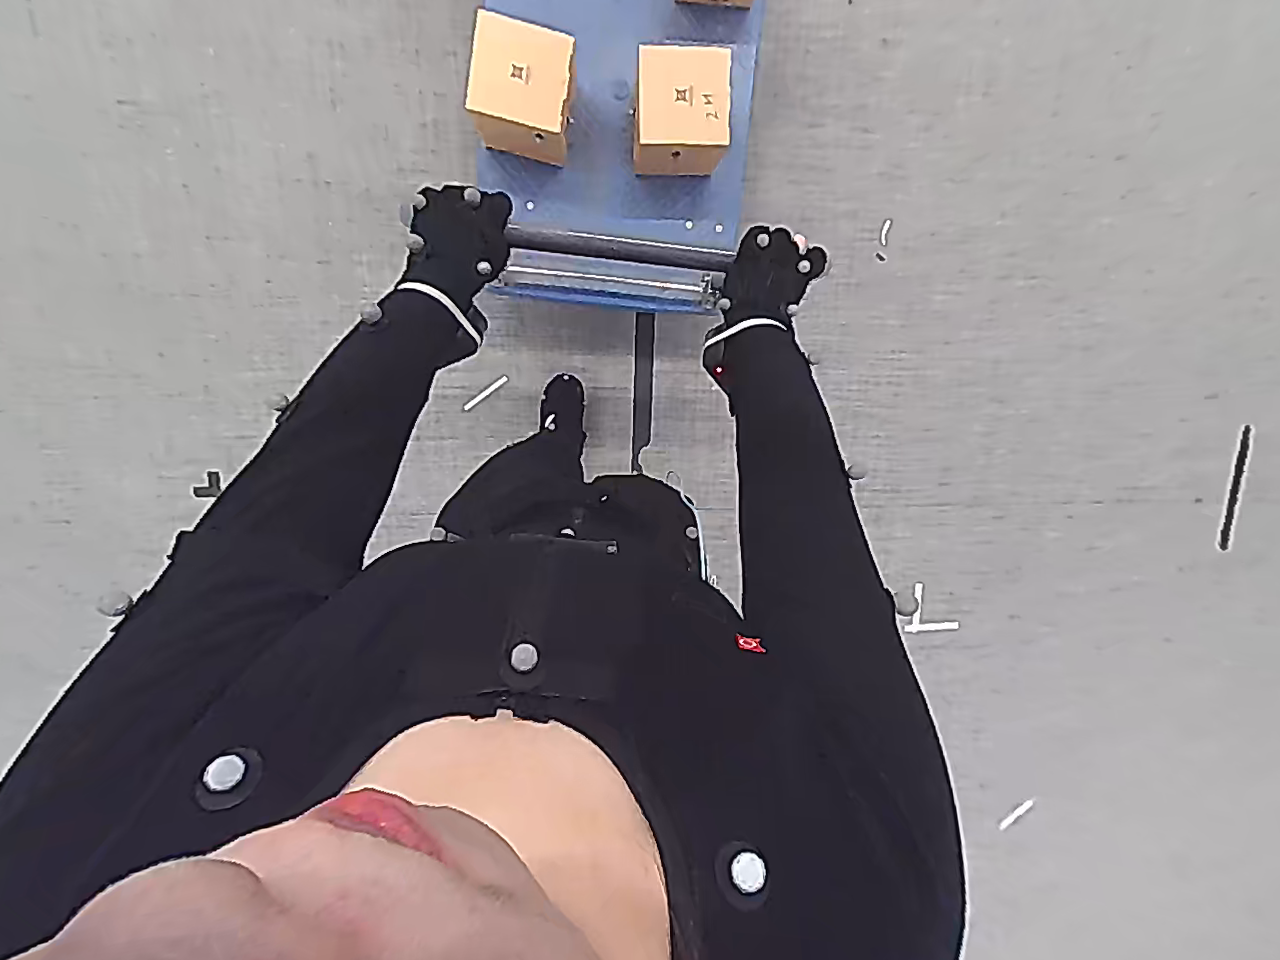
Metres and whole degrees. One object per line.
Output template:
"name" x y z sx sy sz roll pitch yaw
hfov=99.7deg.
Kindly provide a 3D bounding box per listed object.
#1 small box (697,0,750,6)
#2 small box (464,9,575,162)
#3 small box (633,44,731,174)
"small box" 0.158 -1.052 1.017 0.168 0.176 0.179 1 103 -5
"small box" -0.227 -0.750 1.051 0.179 0.176 0.168 10 101 -9
"small box" 0.075 -0.730 1.080 0.179 0.176 0.168 -1 103 -5
